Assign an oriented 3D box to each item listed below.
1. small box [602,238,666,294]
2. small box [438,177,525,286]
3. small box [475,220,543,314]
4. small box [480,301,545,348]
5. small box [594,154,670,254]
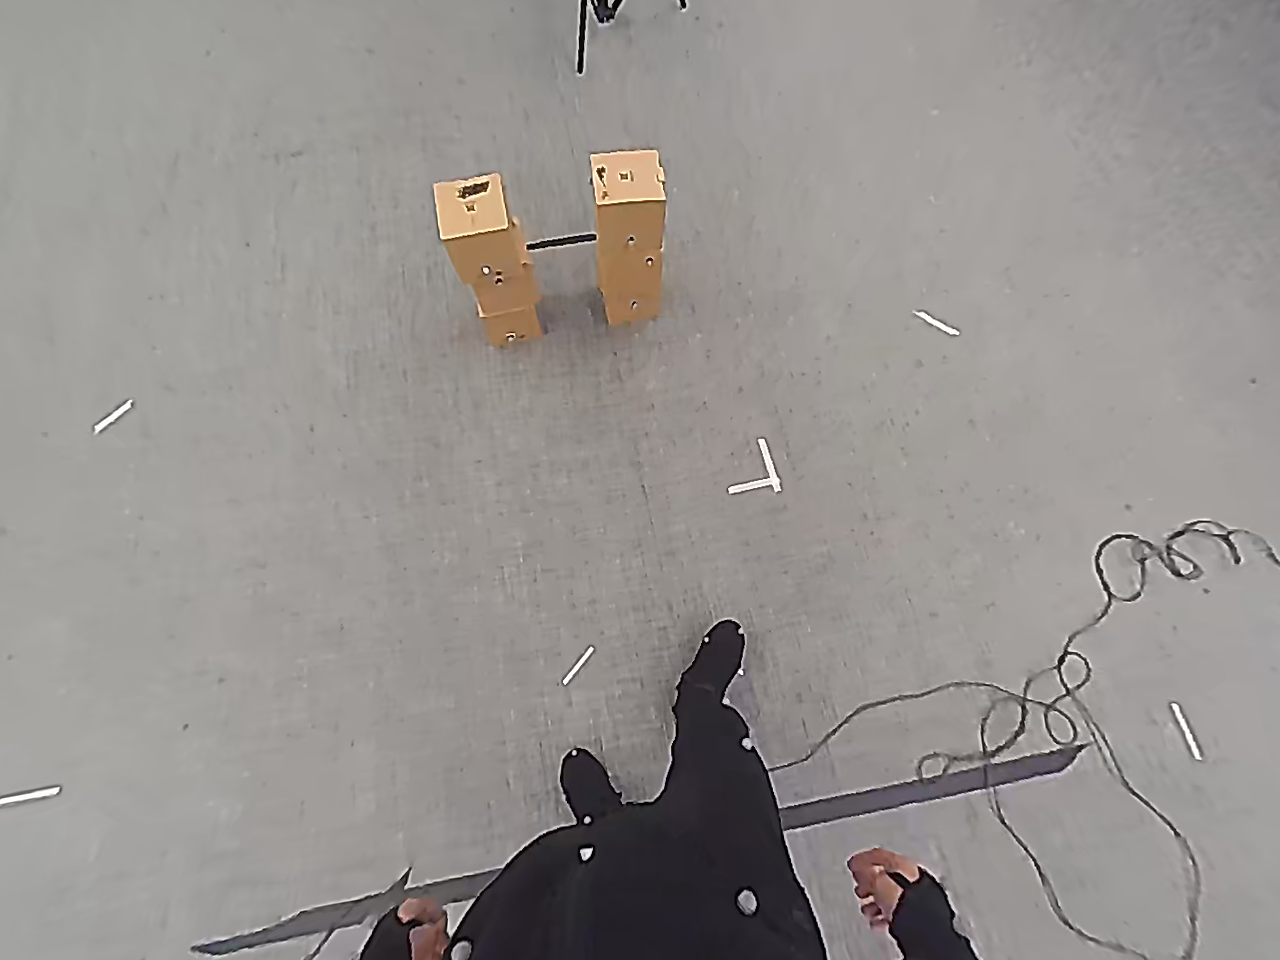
[{"bbox_3d":[-0.022,-0.659,1.567,0.179,0.176,0.168,-5,72,-3],"label":"small box"},{"bbox_3d":[-0.398,-0.627,1.376,0.168,0.176,0.179,-12,73,-3],"label":"small box"},{"bbox_3d":[-0.389,-0.600,1.540,0.179,0.176,0.168,-15,72,-5],"label":"small box"},{"bbox_3d":[-0.404,-0.543,1.694,0.168,0.176,0.179,-14,73,-5],"label":"small box"},{"bbox_3d":[-0.026,-0.716,1.412,0.179,0.176,0.168,-6,71,-4],"label":"small box"}]
